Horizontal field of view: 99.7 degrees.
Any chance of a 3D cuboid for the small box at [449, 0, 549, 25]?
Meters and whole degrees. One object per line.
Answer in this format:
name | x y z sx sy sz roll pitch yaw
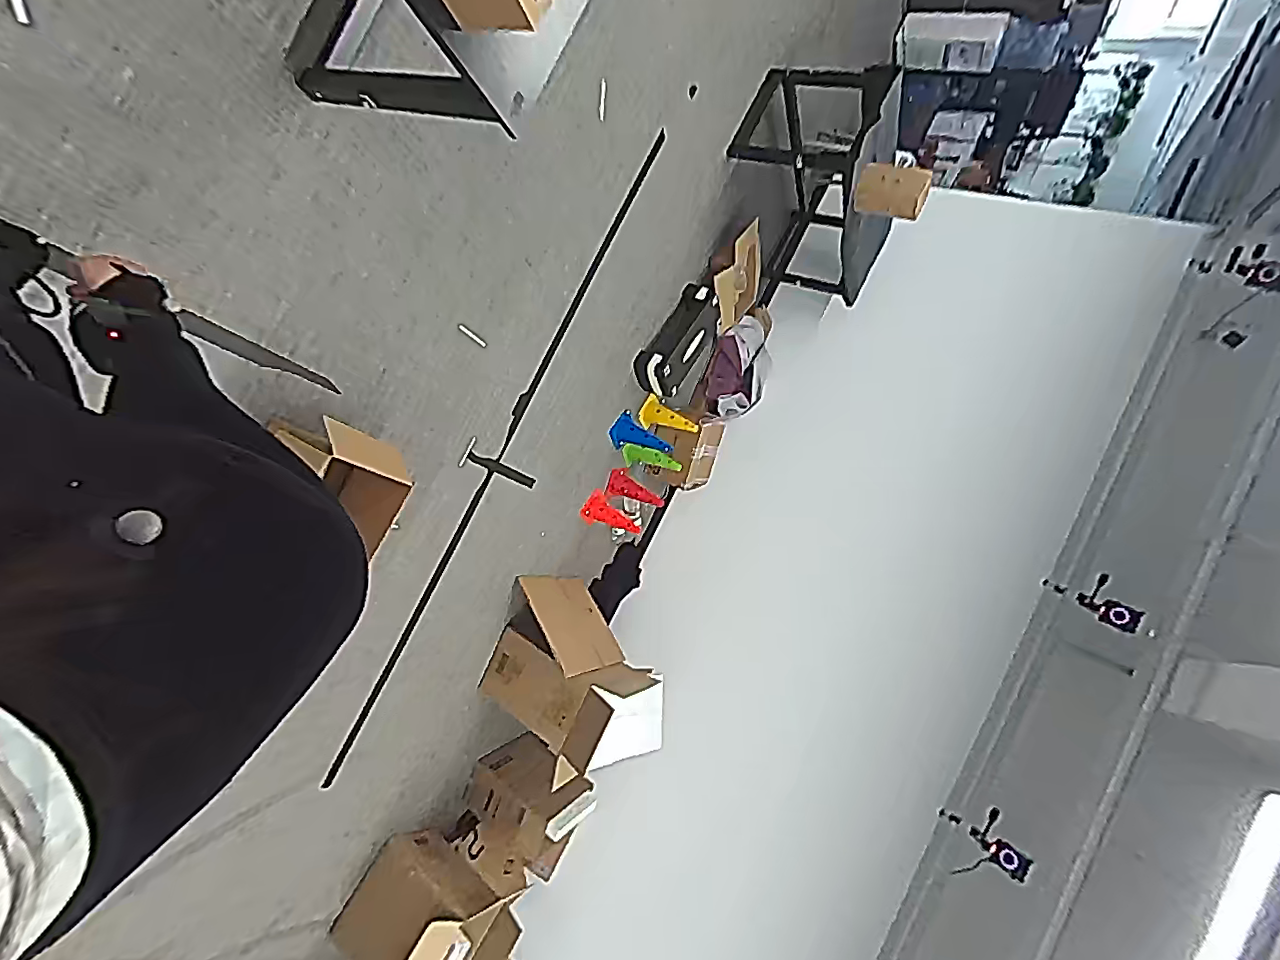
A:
small box | -0.218 -0.808 0.777 0.168 0.176 0.179 -63 153 -5
